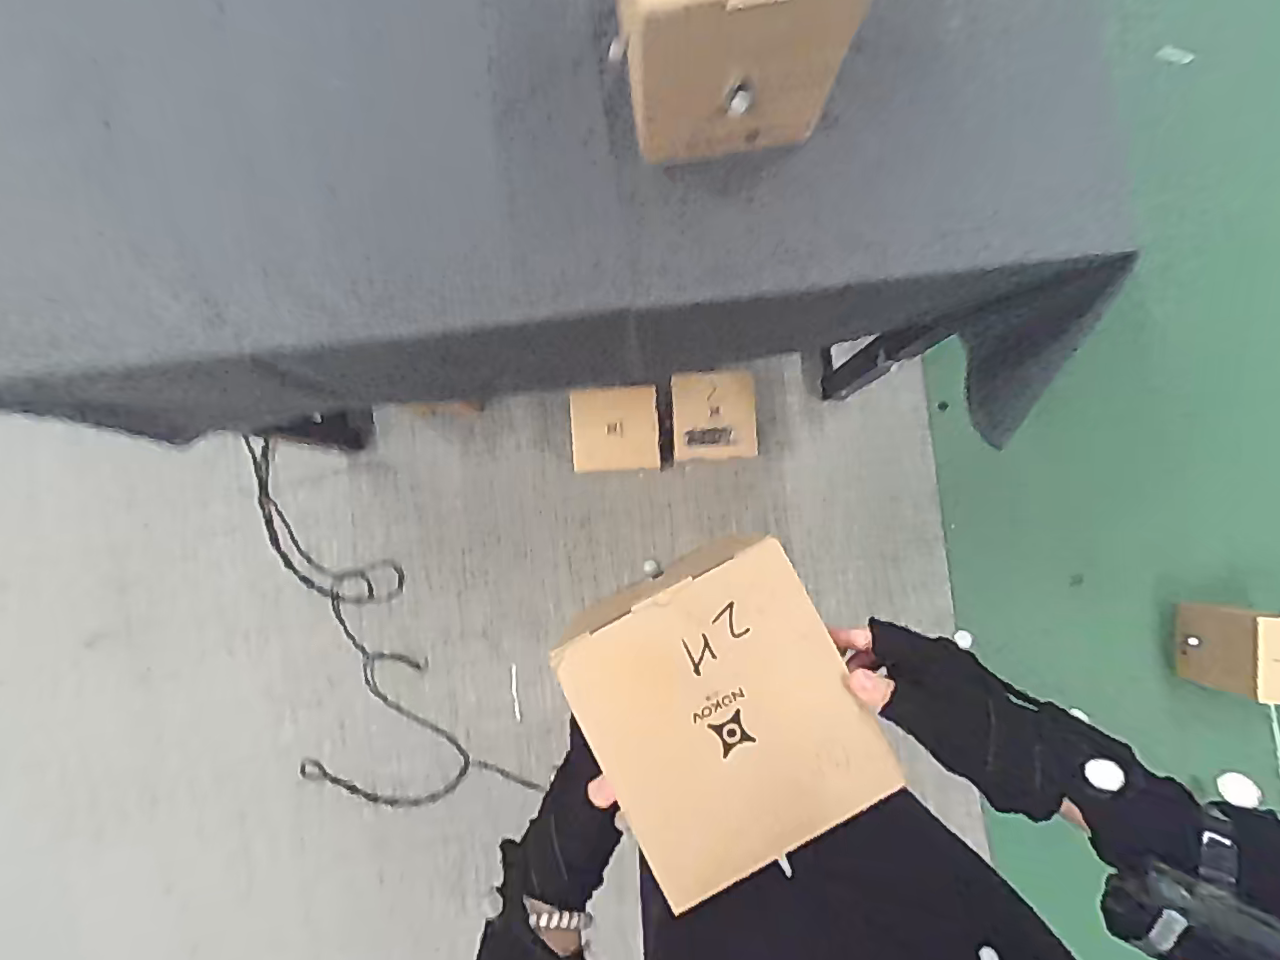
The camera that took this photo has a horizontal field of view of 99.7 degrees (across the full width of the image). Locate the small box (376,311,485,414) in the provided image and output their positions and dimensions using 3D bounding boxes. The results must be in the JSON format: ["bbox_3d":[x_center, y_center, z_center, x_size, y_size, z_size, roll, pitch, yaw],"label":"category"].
[{"bbox_3d":[-0.445,-0.249,1.173,0.168,0.176,0.179,2,86,2],"label":"small box"}]

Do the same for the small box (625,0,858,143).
[{"bbox_3d":[0.075,-0.414,0.450,0.168,0.176,0.179,-8,87,0],"label":"small box"}]

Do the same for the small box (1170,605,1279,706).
[{"bbox_3d":[1.259,0.357,1.110,0.179,0.176,0.168,5,86,2],"label":"small box"}]
